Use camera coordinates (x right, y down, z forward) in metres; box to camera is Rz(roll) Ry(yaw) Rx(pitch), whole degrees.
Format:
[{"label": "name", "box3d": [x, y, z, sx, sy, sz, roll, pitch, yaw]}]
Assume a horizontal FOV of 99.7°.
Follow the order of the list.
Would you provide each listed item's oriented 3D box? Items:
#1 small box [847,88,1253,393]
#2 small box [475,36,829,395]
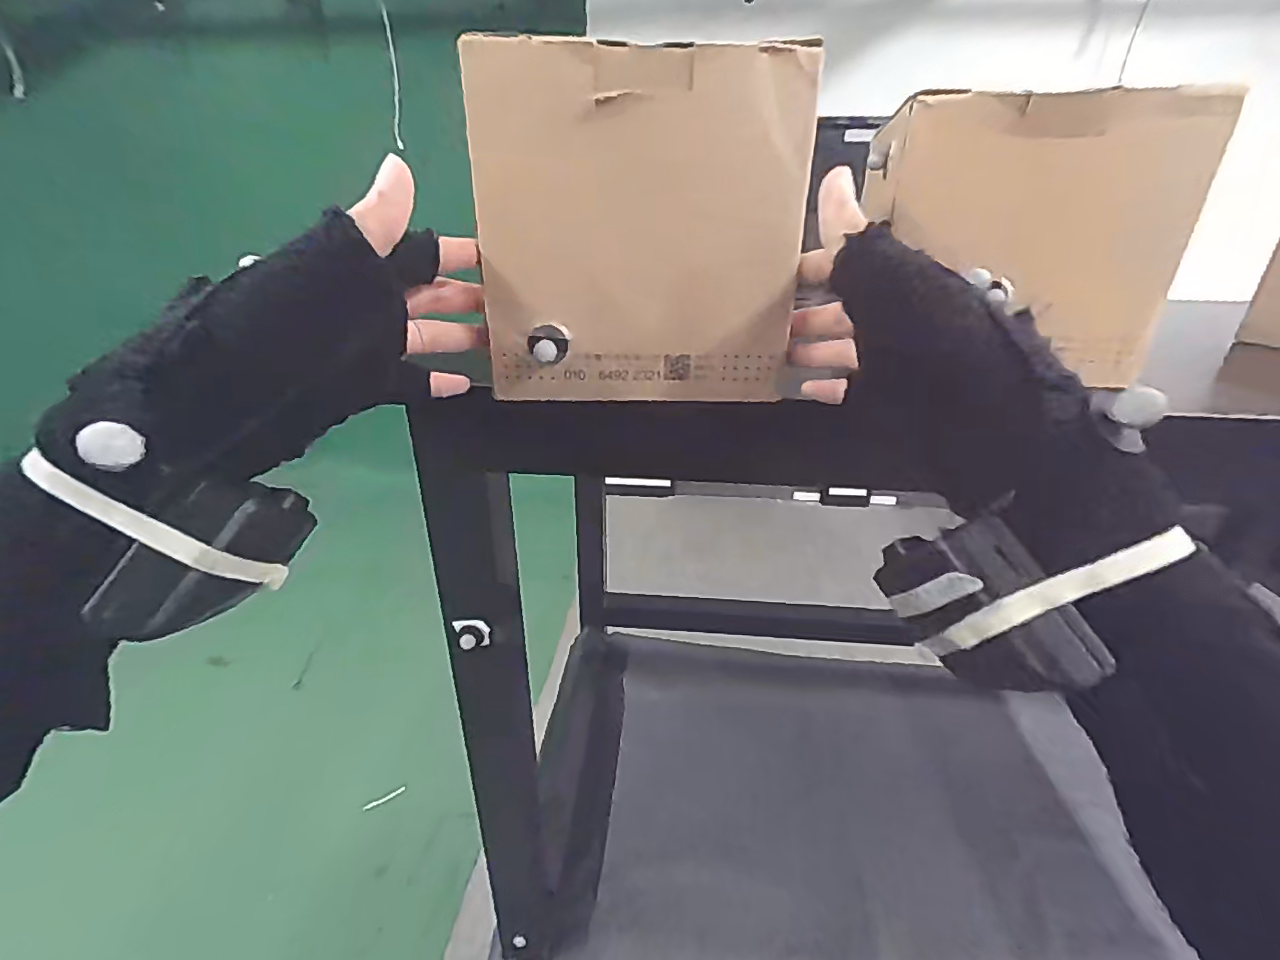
[{"label": "small box", "box3d": [0.262, -0.174, 0.408, 0.168, 0.176, 0.179, 7, 25, 12]}, {"label": "small box", "box3d": [0.005, -0.155, 0.350, 0.168, 0.176, 0.179, 0, 23, -2]}]
